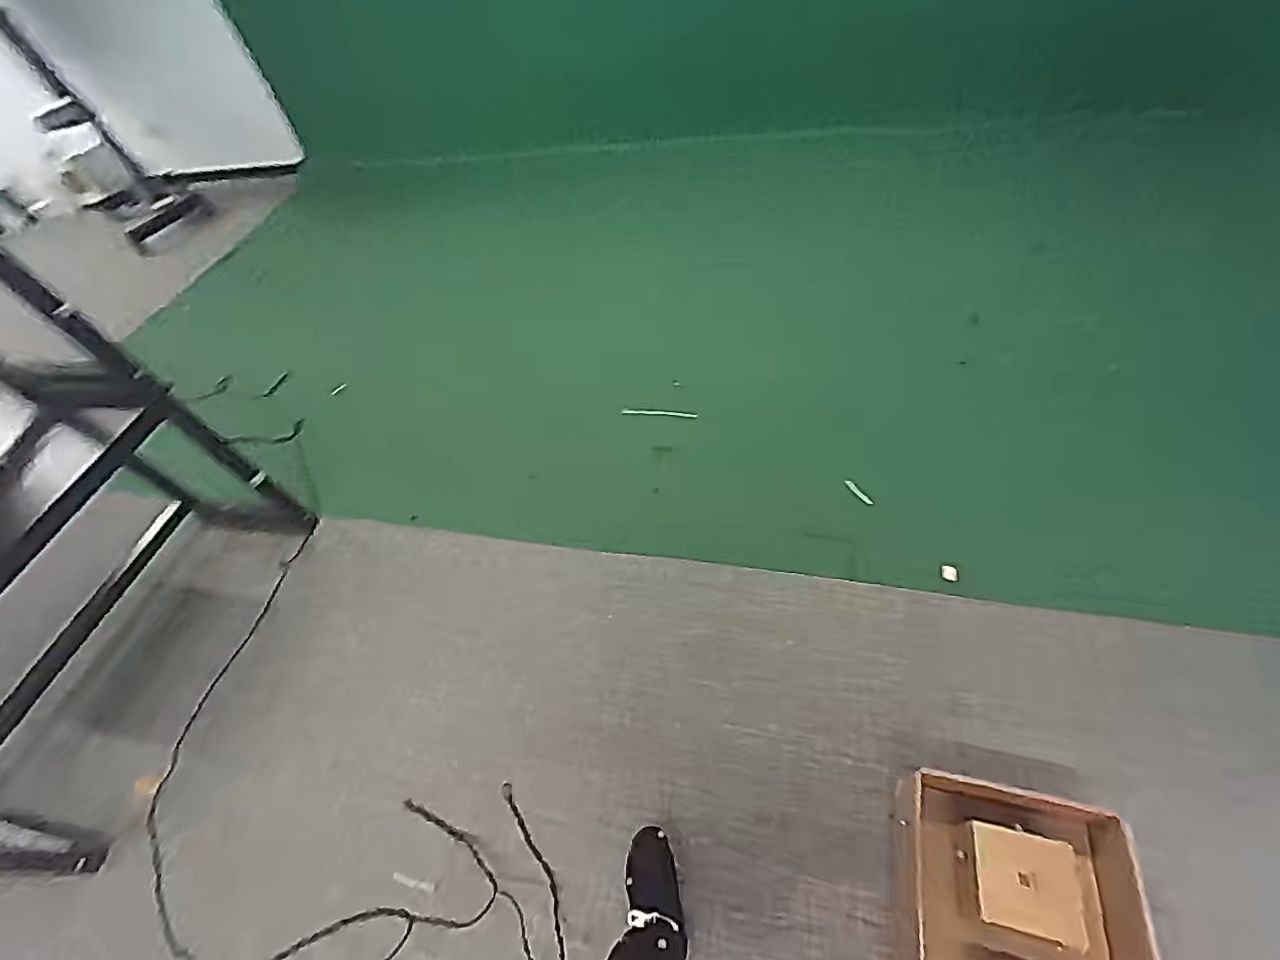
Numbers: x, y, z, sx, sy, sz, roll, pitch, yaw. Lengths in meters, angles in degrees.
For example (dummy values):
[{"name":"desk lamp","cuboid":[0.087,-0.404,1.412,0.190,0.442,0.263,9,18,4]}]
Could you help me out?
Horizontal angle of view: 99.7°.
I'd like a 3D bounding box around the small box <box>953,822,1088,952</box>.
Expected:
[{"name":"small box","cuboid":[0.753,0.818,1.095,0.179,0.176,0.168,7,56,15]}]
